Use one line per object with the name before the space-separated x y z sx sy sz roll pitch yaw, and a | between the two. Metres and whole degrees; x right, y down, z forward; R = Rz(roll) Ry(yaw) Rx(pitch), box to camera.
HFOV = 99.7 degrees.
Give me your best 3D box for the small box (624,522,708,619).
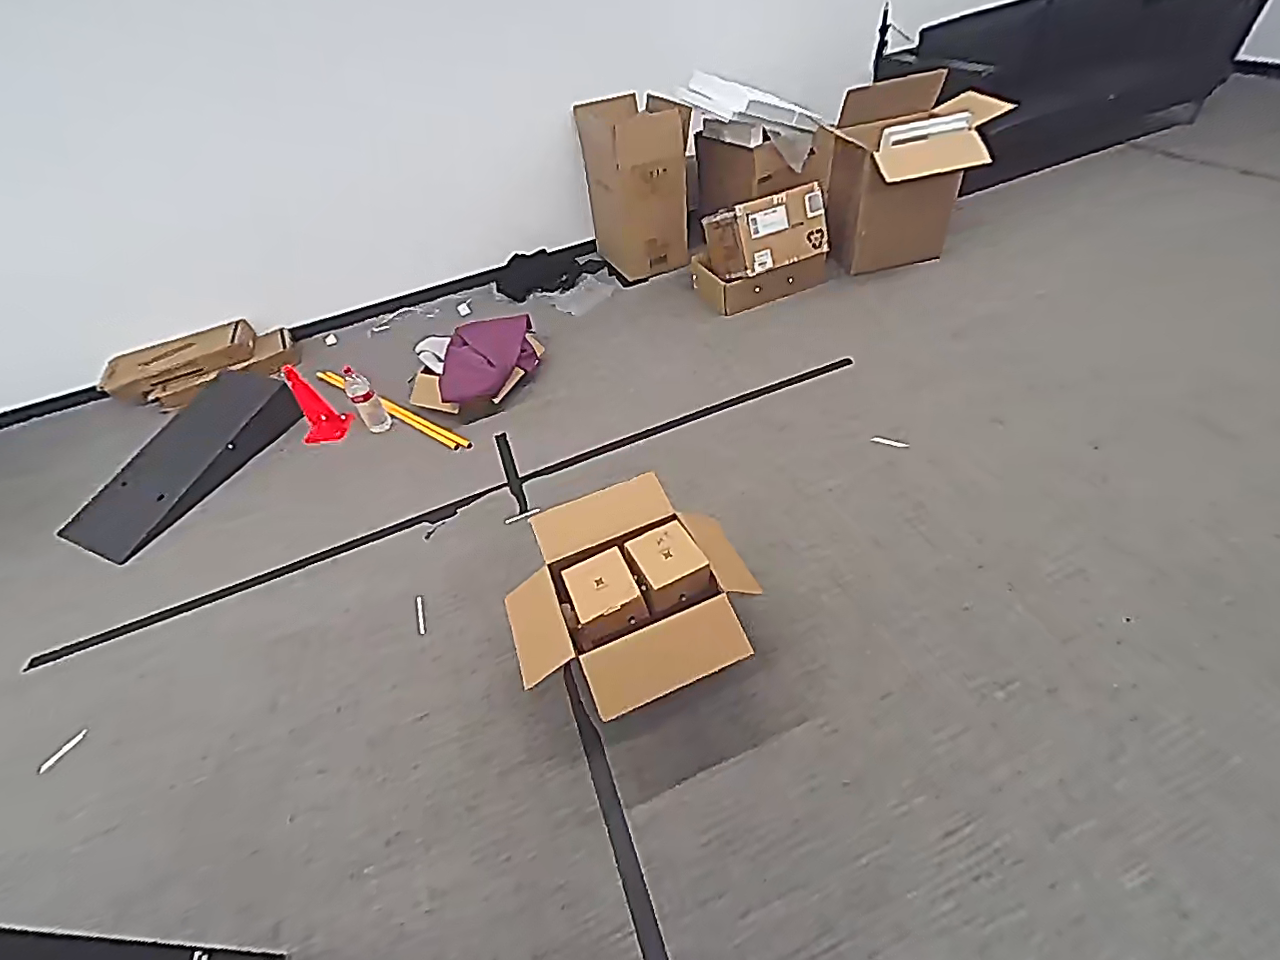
small box | 0.072 0.254 1.474 0.168 0.176 0.179 -23 47 -17
